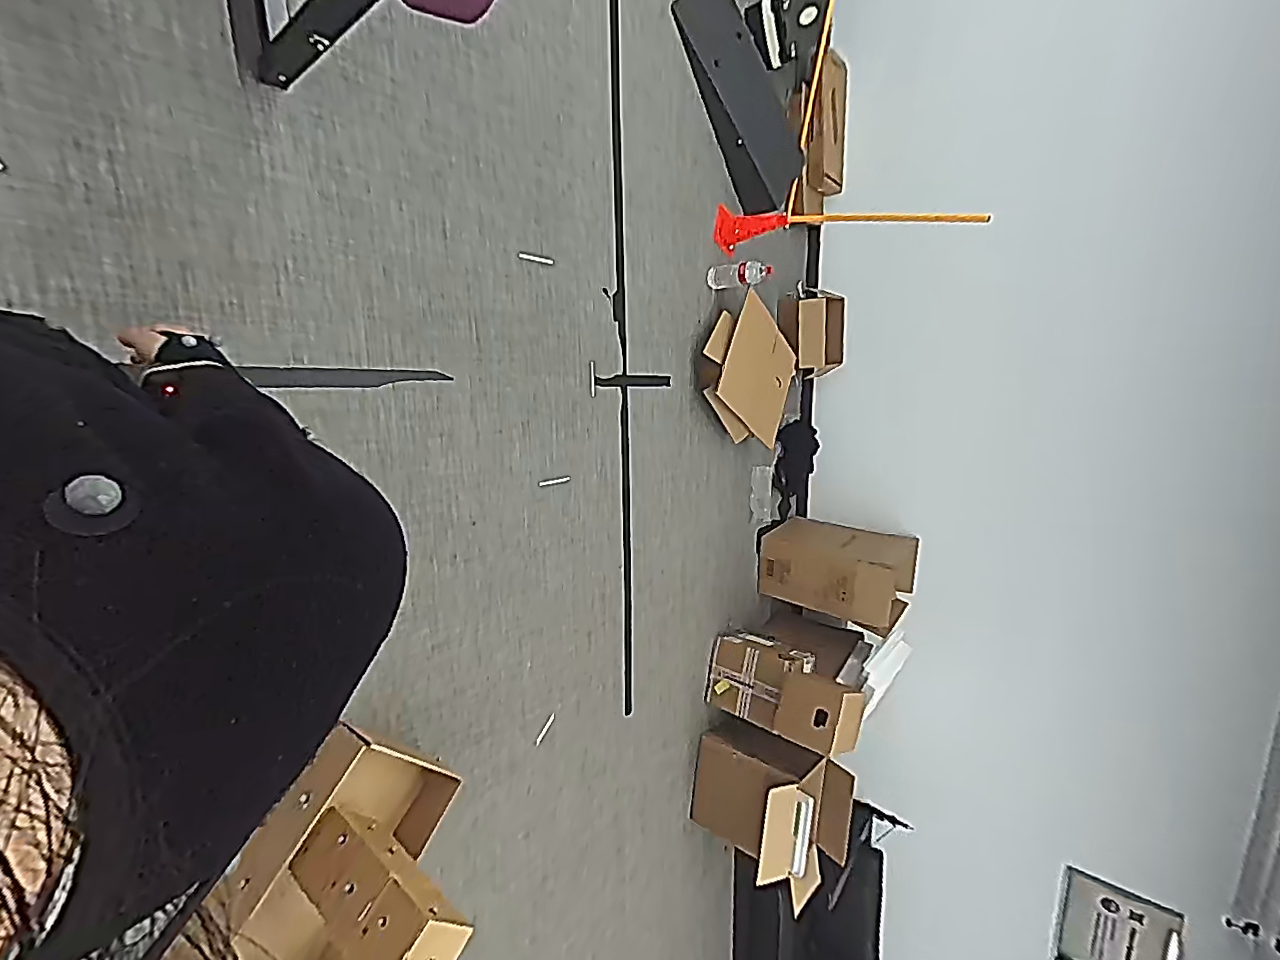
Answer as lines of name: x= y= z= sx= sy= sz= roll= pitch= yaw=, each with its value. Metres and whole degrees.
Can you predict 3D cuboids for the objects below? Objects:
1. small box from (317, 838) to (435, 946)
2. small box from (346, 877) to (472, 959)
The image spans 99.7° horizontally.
small box: x=-0.670 y=1.049 z=1.371 sx=0.168 sy=0.176 sz=0.179 roll=-57 pitch=136 yaw=-27
small box: x=-0.542 y=1.079 z=1.274 sx=0.168 sy=0.176 sz=0.179 roll=-57 pitch=137 yaw=-27
